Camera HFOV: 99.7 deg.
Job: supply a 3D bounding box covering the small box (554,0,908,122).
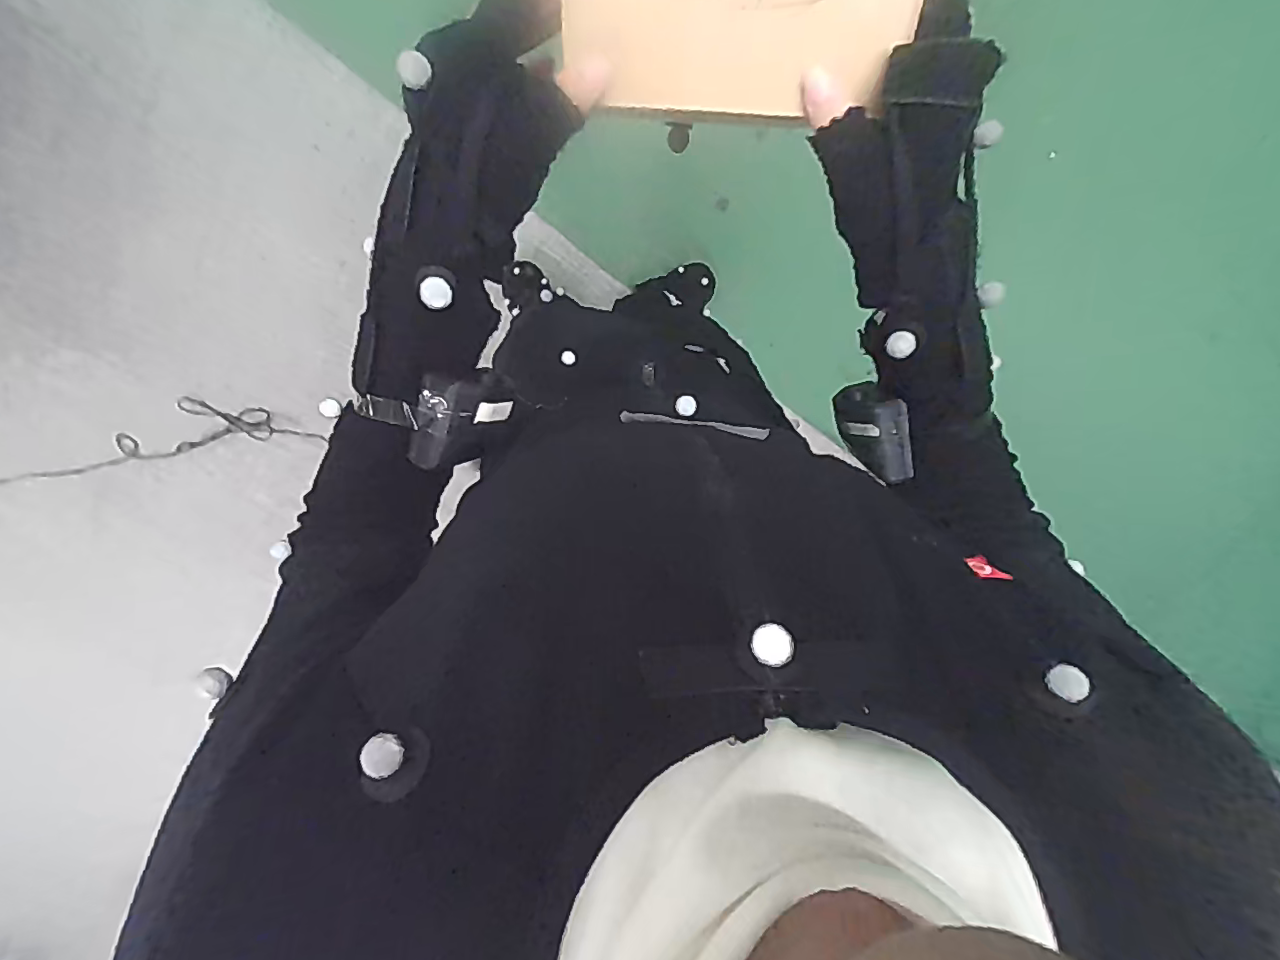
[{"bbox_3d":[0.040,-0.301,0.290,0.168,0.176,0.179,0,123,-3],"label":"small box"}]
